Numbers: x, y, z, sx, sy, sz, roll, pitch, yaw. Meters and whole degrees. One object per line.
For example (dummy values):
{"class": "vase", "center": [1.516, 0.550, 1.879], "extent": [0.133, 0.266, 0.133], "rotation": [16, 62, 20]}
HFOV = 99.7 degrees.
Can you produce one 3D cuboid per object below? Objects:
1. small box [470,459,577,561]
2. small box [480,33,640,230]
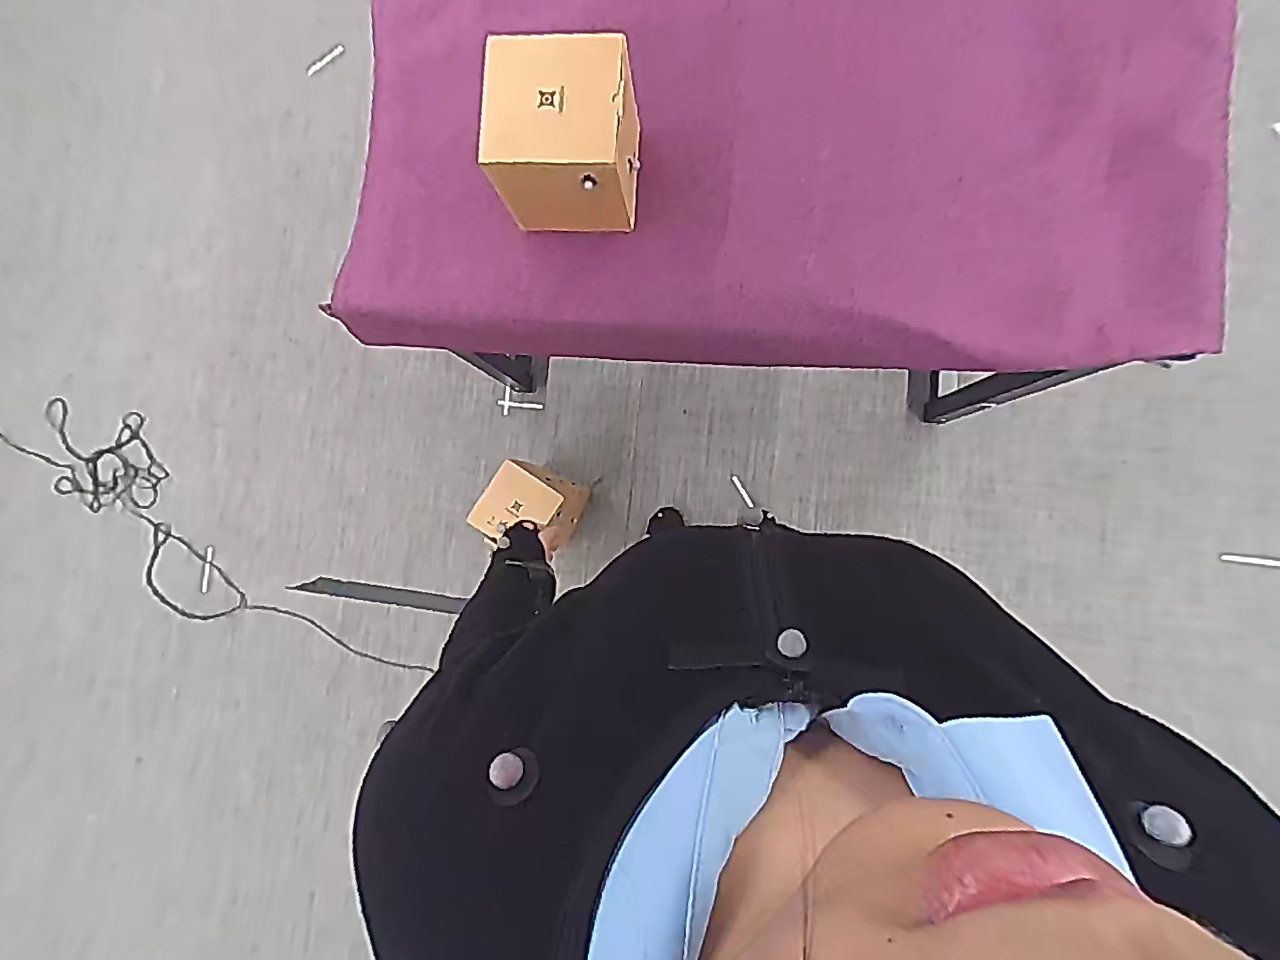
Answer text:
{"class": "small box", "center": [-0.269, 0.069, 1.301], "extent": [0.168, 0.176, 0.179], "rotation": [34, 92, 6]}
{"class": "small box", "center": [-0.099, -0.462, 0.741], "extent": [0.179, 0.176, 0.168], "rotation": [3, 87, 5]}
